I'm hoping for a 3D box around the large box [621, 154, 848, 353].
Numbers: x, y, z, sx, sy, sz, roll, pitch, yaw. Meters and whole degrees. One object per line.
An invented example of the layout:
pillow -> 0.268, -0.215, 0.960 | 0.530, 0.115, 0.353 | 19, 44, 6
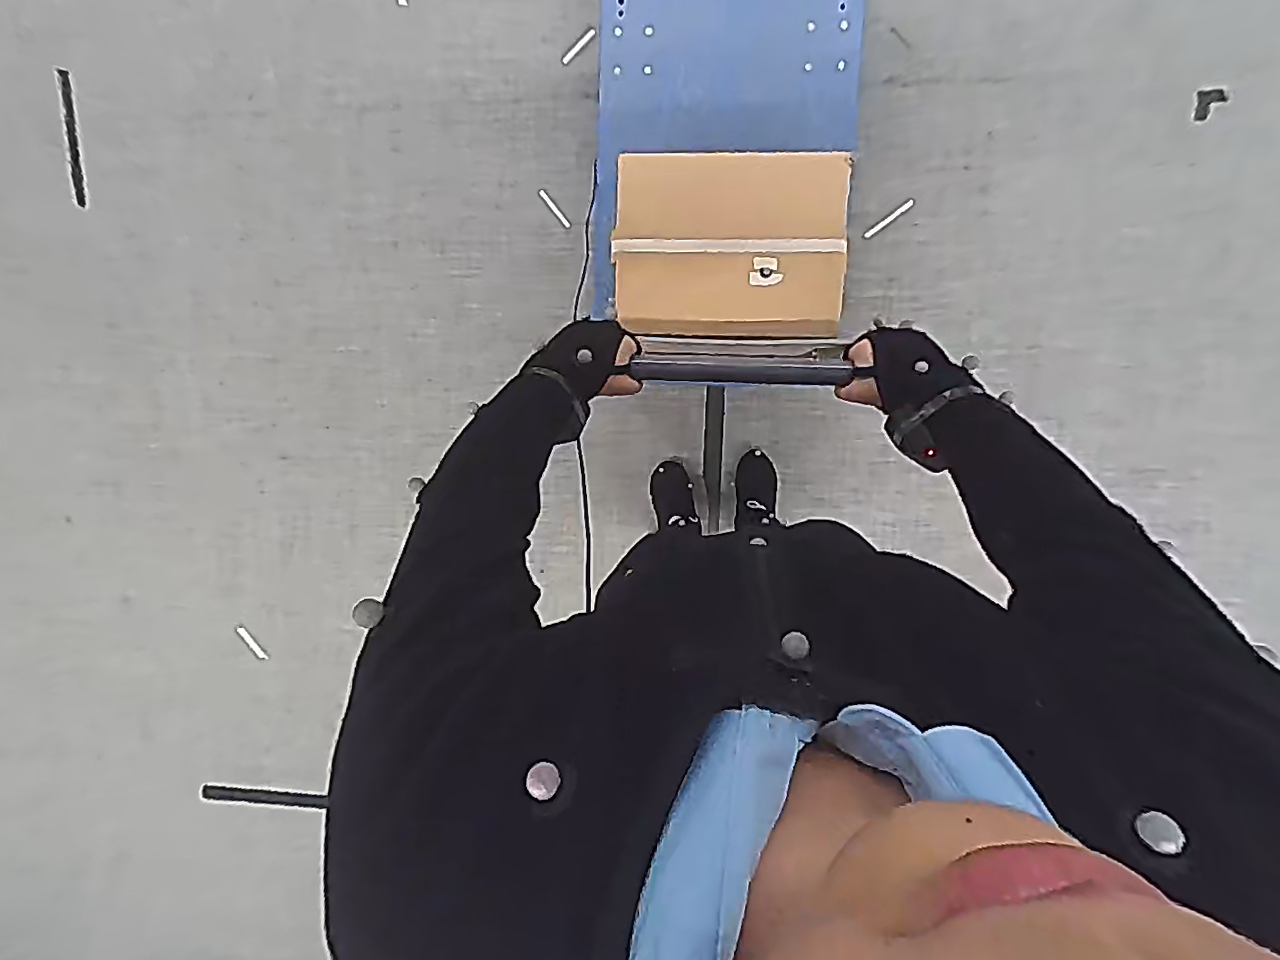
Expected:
large box -> 0.172, -0.439, 1.122 | 0.408, 0.320, 0.320 | 2, 98, 4
